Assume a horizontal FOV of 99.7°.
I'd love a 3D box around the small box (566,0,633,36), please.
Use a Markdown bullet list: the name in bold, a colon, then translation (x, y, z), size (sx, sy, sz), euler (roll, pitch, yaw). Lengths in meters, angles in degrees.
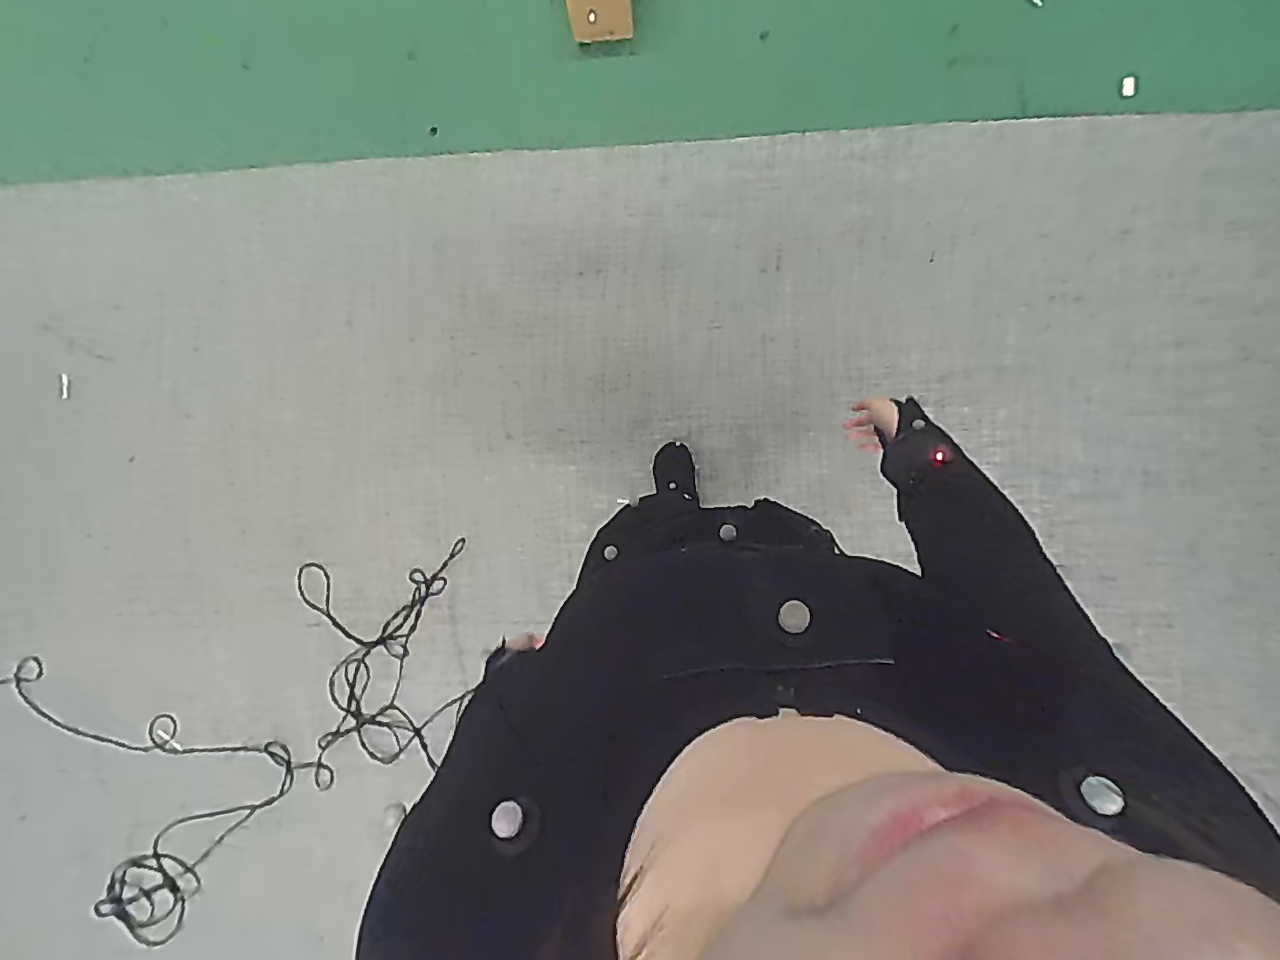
- **small box**: translation (-0.107, -1.306, 1.413), size (0.168, 0.176, 0.179), euler (-2, 90, 4)
